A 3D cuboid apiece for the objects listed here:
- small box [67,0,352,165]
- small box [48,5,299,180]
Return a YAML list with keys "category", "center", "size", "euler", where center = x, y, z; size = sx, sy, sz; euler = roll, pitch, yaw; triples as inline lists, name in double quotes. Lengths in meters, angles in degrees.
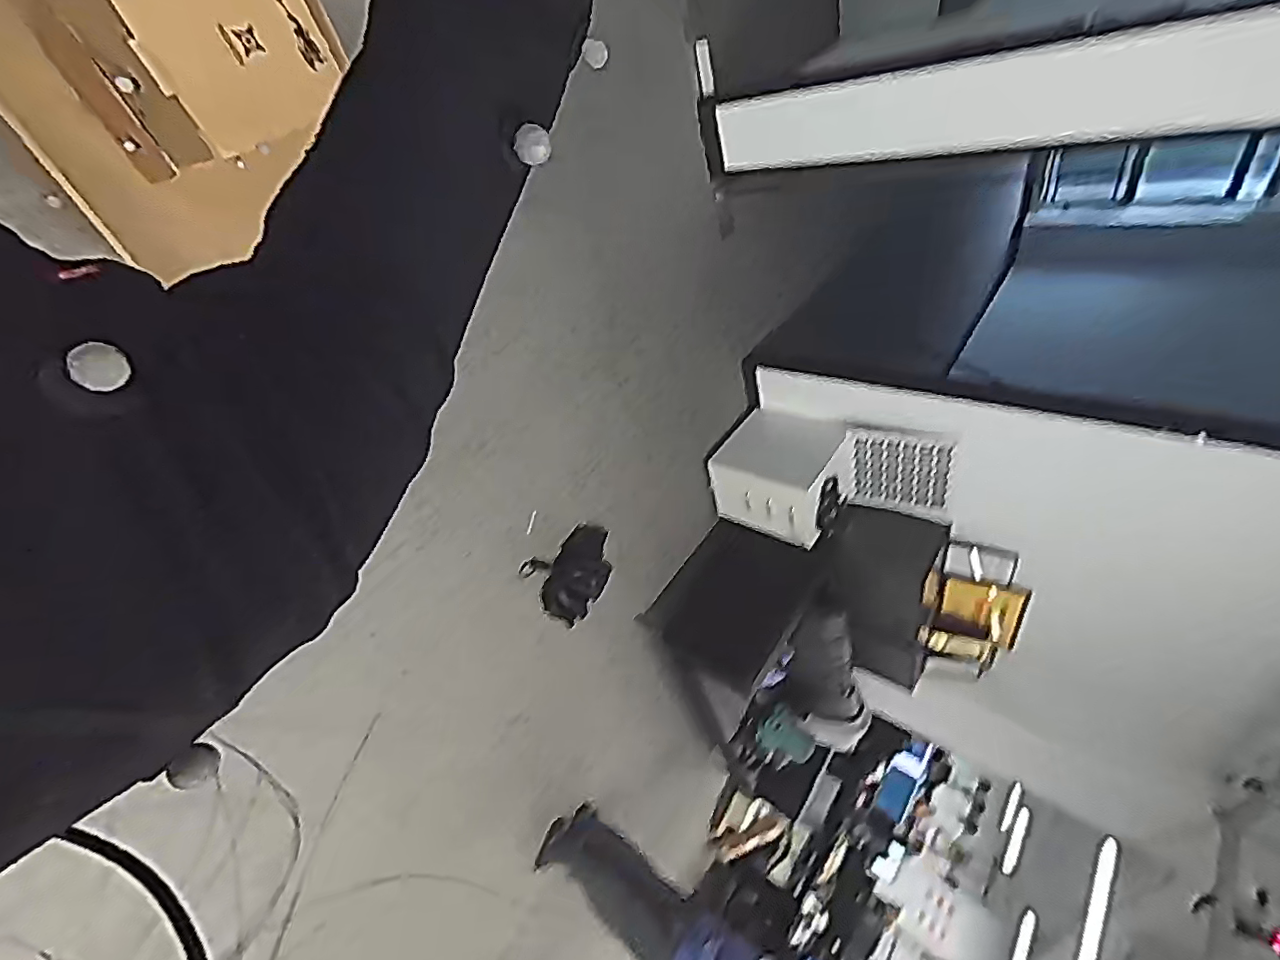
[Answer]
- category: "small box"
  center: [-0.474, -0.469, 0.601]
  size: [0.179, 0.176, 0.168]
  euler: [-47, 139, -28]
- category: "small box"
  center: [-0.599, -0.507, 0.700]
  size: [0.179, 0.176, 0.168]
  euler: [-49, 140, -29]
